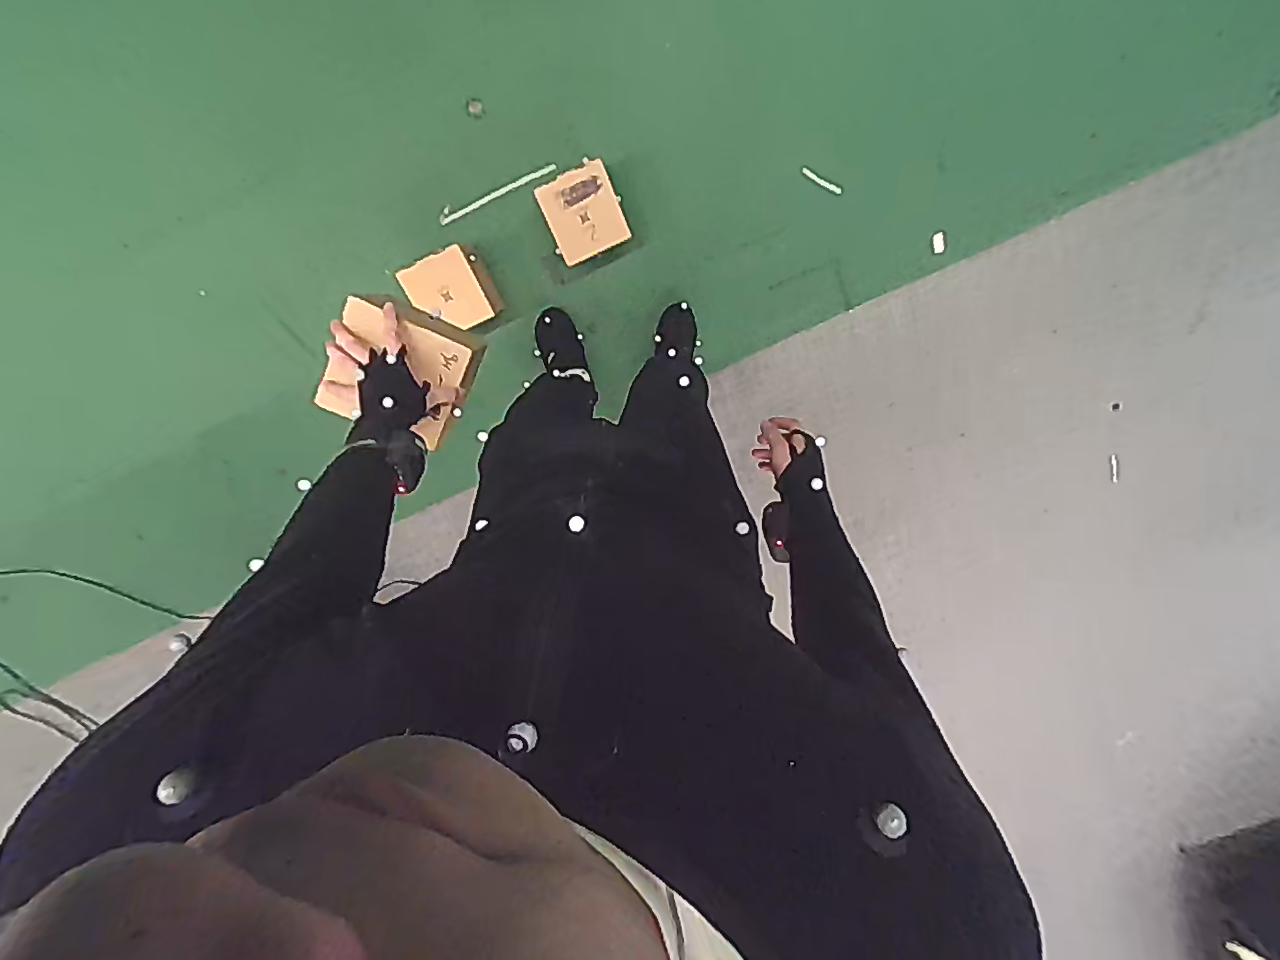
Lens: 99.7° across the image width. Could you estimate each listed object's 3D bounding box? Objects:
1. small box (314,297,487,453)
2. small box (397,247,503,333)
[{"bbox_3d":[-0.357,-0.165,0.836,0.179,0.176,0.168,23,105,-14],"label":"small box"},{"bbox_3d":[-0.457,-0.460,1.336,0.168,0.176,0.179,-23,113,6],"label":"small box"}]
